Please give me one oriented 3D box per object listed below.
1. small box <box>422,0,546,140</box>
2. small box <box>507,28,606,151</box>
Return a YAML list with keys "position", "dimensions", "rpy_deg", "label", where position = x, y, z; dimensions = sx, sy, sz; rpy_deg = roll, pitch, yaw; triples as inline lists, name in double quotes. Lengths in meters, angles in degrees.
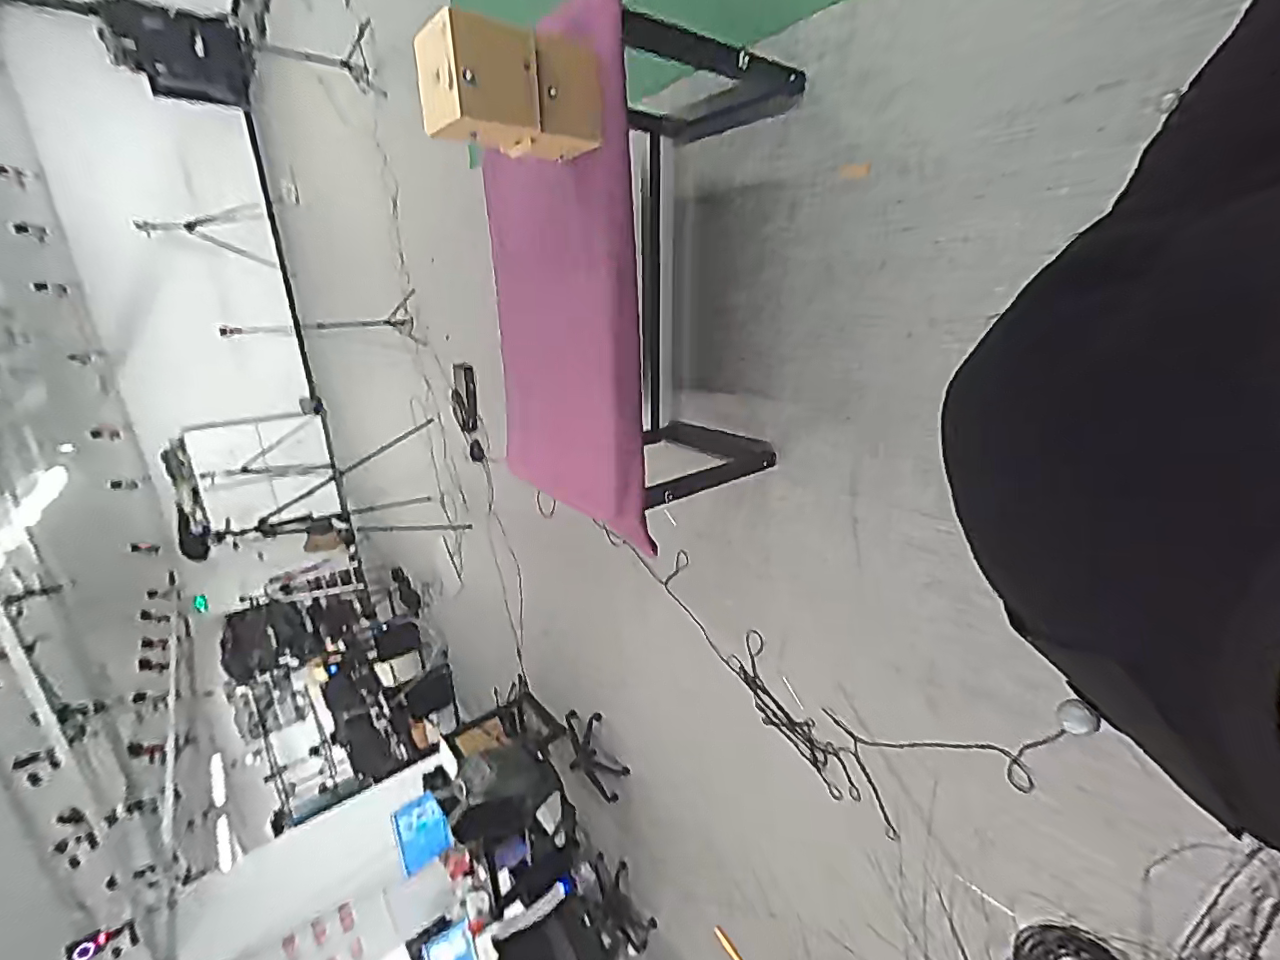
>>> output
- position: [-0.300, -0.777, 1.048]
  dimensions: [0.179, 0.176, 0.168]
  rpy_deg: [22, 122, 47]
  label: "small box"
- position: [-0.184, -0.822, 1.157]
  dimensions: [0.168, 0.176, 0.179]
  rpy_deg: [18, 118, 48]
  label: "small box"
